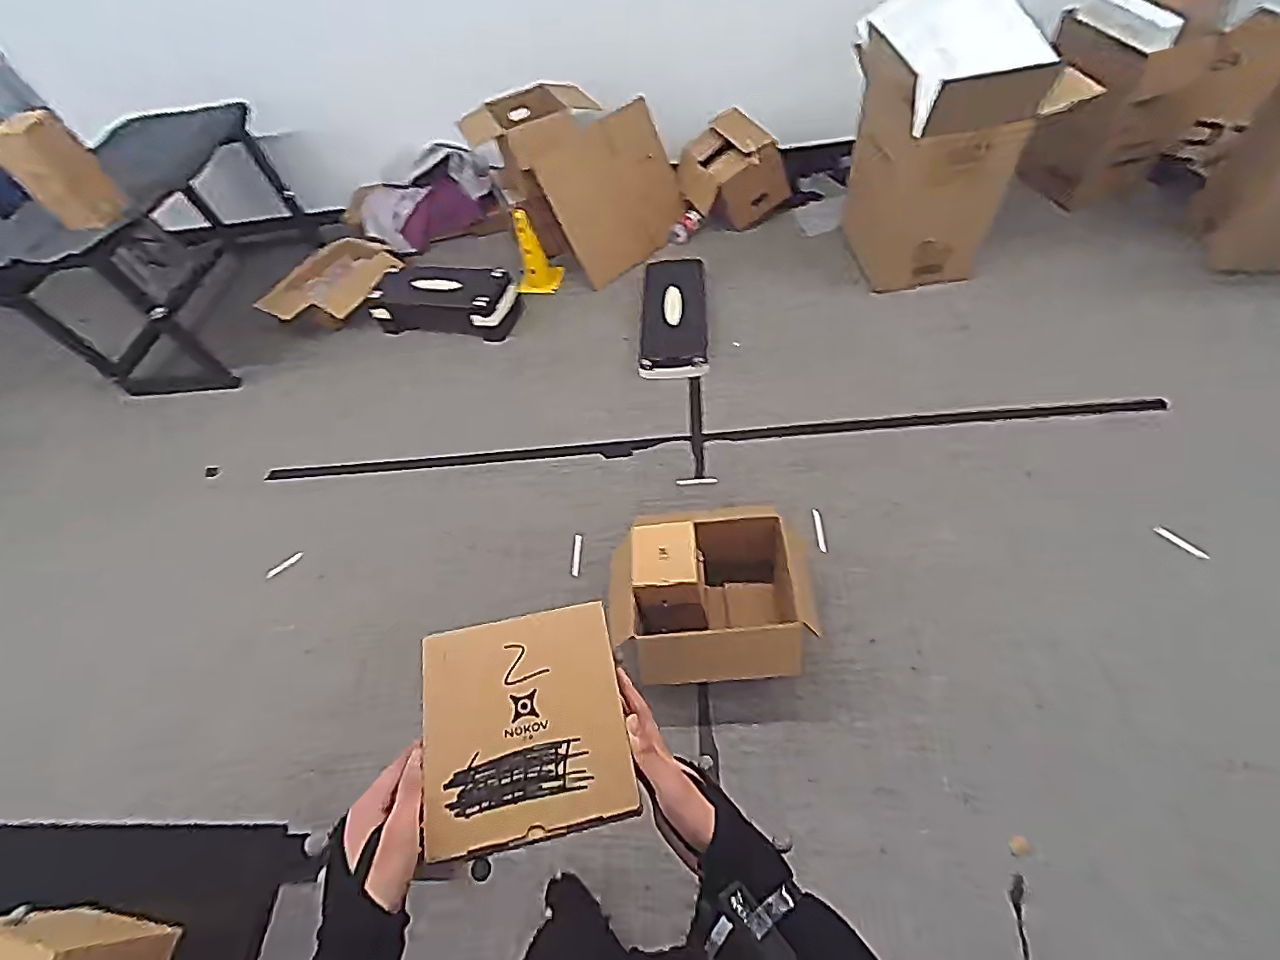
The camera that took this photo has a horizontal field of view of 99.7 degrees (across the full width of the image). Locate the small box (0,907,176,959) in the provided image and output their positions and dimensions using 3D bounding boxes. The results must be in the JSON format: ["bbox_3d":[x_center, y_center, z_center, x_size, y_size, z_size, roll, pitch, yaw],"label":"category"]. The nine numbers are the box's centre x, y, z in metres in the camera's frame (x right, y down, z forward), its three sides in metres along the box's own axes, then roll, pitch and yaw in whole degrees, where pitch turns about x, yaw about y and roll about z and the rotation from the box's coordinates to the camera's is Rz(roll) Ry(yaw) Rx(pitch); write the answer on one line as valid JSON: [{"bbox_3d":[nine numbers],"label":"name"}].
[{"bbox_3d":[-0.734,0.633,0.648,0.179,0.176,0.168,2,58,11],"label":"small box"}]
